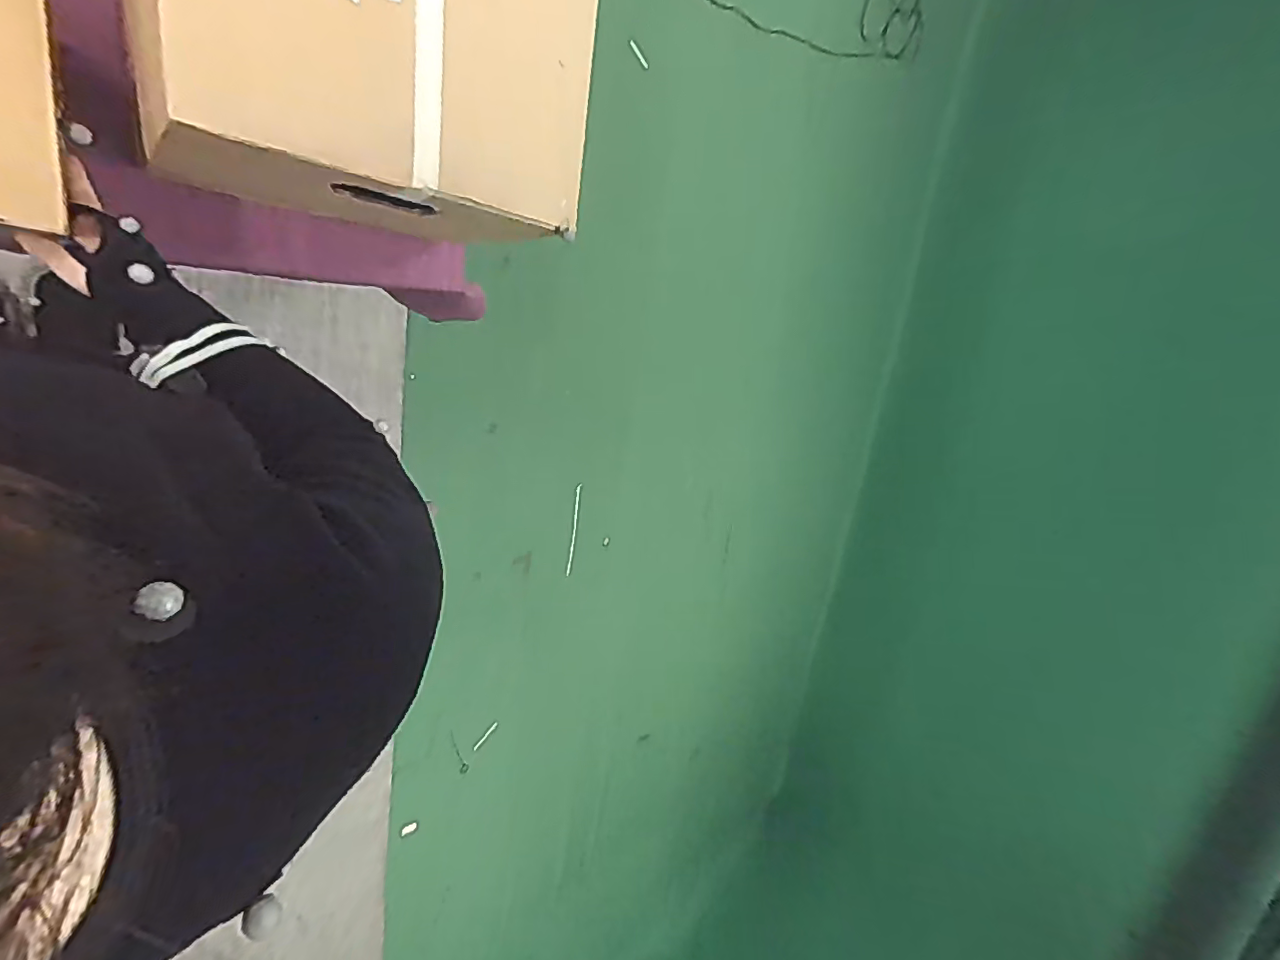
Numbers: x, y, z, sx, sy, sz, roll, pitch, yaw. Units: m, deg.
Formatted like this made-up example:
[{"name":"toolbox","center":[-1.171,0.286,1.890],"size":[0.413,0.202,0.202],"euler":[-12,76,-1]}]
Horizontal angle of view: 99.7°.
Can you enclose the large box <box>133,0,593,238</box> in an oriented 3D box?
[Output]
[{"name":"large box","center":[-0.257,-0.471,0.500],"size":[0.320,0.320,0.408],"euler":[-7,111,-44]}]
